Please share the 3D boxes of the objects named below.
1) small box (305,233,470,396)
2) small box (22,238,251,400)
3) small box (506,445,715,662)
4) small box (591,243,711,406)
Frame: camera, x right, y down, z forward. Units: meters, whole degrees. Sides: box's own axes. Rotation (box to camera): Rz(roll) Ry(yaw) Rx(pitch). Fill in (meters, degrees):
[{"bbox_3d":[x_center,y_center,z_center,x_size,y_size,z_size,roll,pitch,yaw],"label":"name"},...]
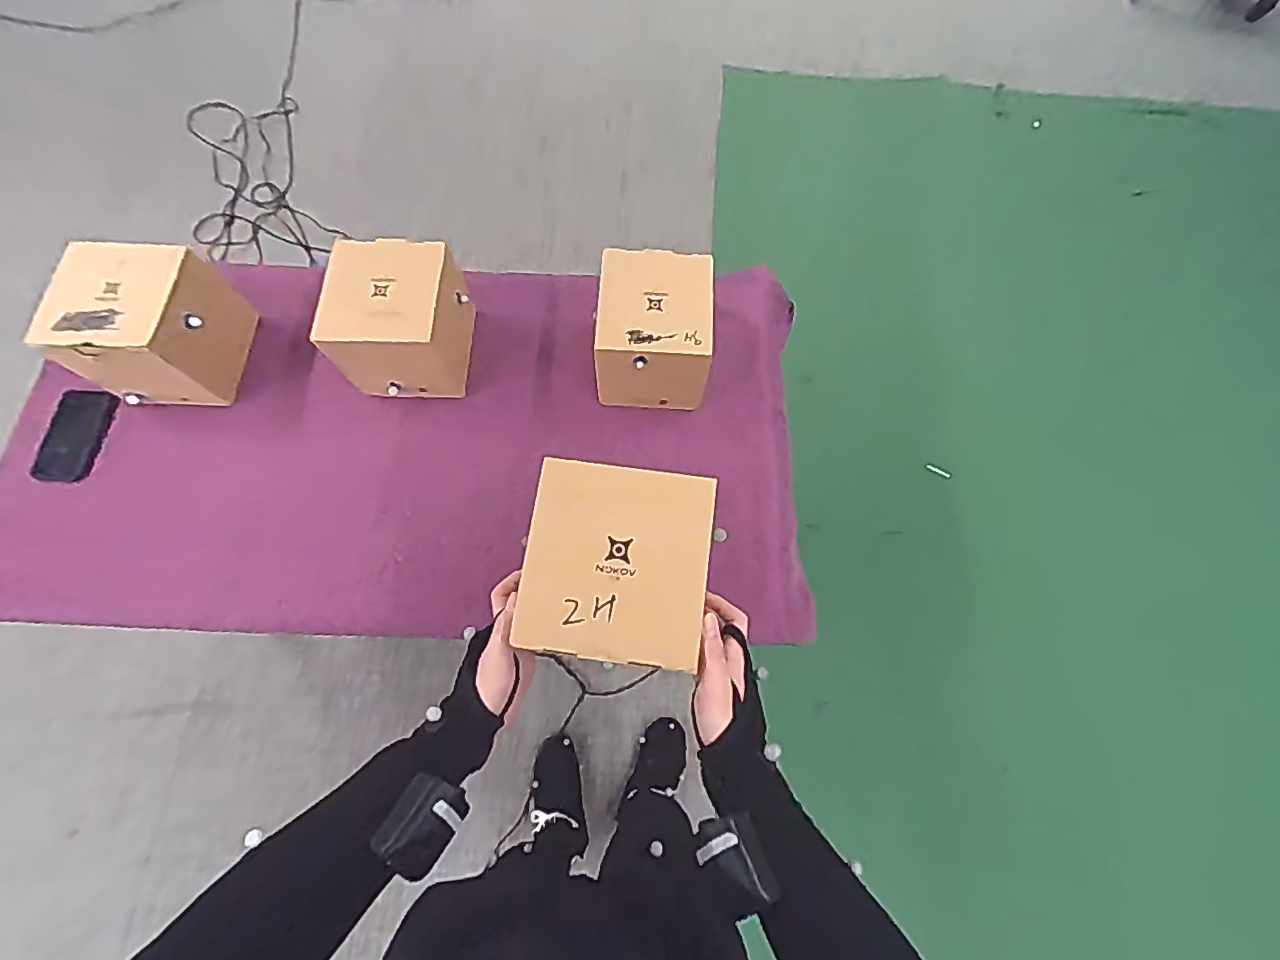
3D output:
[{"bbox_3d":[-0.372,-0.249,0.835,0.168,0.176,0.179,1,71,0],"label":"small box"},{"bbox_3d":[-0.737,-0.235,0.819,0.168,0.176,0.179,2,70,-1],"label":"small box"},{"bbox_3d":[-0.022,0.081,0.556,0.168,0.176,0.179,7,75,4],"label":"small box"},{"bbox_3d":[0.017,-0.235,0.839,0.168,0.176,0.179,3,70,0],"label":"small box"}]
